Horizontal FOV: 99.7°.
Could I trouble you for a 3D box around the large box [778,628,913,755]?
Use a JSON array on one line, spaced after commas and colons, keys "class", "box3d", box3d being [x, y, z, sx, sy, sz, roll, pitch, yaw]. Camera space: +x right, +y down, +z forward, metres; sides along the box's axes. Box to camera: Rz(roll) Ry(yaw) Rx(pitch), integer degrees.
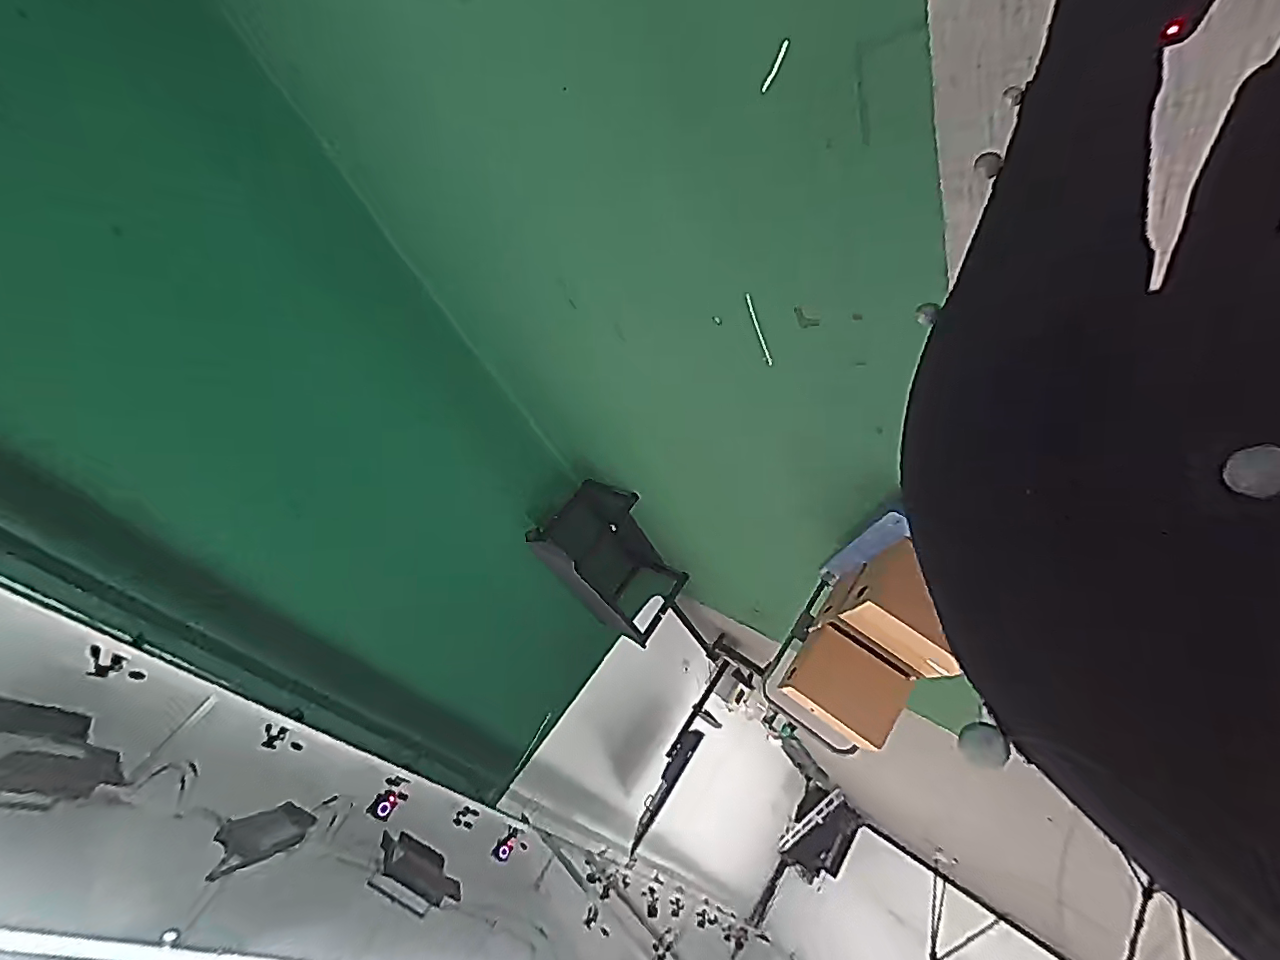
[{"class": "large box", "box3d": [0.862, 0.893, 2.304, 0.408, 0.320, 0.320, 34, 163, 16]}]
